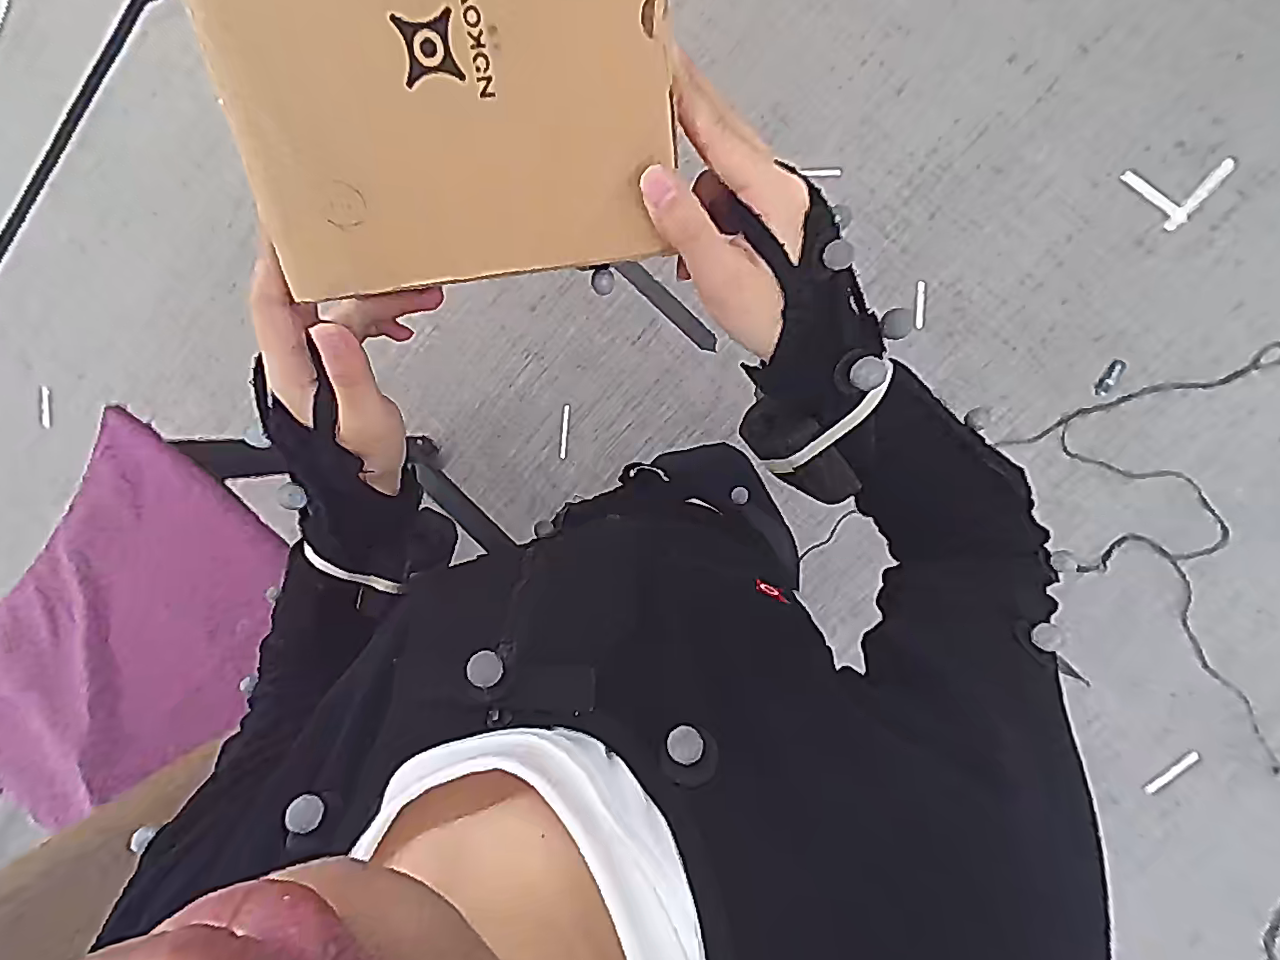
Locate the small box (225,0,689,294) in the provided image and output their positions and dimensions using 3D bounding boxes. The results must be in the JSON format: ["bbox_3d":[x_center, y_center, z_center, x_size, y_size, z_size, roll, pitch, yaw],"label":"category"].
[{"bbox_3d":[-0.075,-0.198,0.295,0.179,0.176,0.168,-8,113,-1],"label":"small box"}]
